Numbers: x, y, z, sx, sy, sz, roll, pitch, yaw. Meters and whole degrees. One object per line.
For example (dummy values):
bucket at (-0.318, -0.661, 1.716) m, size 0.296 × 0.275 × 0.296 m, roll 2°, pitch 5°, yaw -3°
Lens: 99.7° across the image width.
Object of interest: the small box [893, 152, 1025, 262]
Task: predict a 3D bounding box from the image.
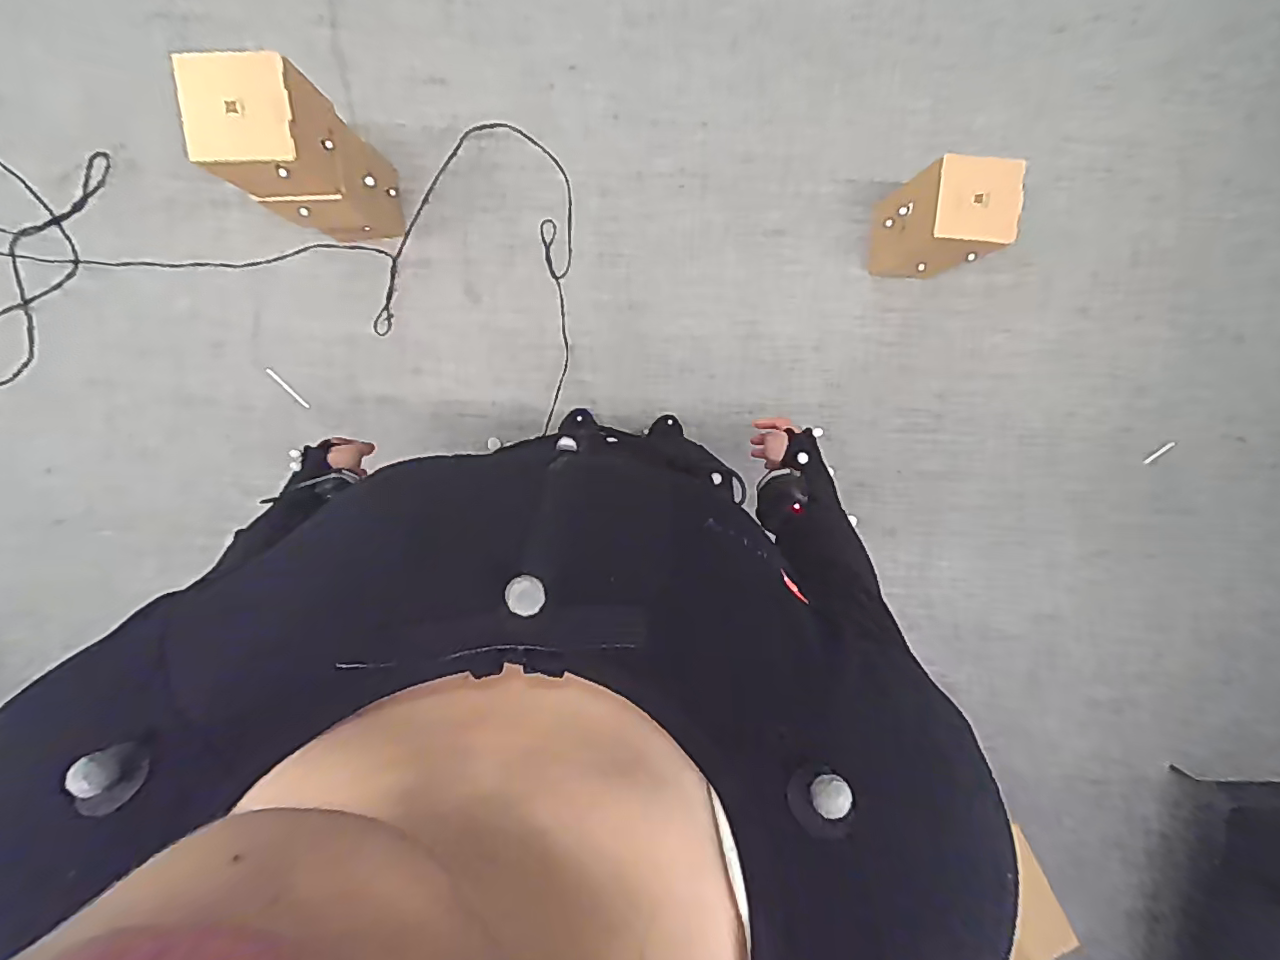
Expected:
small box at (0.686, -0.585, 1.180) m, size 0.179 × 0.176 × 0.168 m, roll 3°, pitch 97°, yaw -1°

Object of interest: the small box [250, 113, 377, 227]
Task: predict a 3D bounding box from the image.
small box at (-0.680, -0.640, 1.128) m, size 0.179 × 0.176 × 0.168 m, roll -2°, pitch 99°, yaw -2°

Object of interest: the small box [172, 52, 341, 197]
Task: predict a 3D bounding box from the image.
small box at (-0.671, -0.622, 0.966) m, size 0.179 × 0.176 × 0.168 m, roll -3°, pitch 99°, yaw -2°

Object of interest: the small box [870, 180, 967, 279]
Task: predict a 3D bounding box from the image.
small box at (0.691, -0.614, 1.340) m, size 0.168 × 0.176 × 0.179 m, roll 3°, pitch 98°, yaw -2°

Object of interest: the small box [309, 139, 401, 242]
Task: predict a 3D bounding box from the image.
small box at (-0.689, -0.681, 1.287) m, size 0.179 × 0.176 × 0.168 m, roll -6°, pitch 98°, yaw 0°
